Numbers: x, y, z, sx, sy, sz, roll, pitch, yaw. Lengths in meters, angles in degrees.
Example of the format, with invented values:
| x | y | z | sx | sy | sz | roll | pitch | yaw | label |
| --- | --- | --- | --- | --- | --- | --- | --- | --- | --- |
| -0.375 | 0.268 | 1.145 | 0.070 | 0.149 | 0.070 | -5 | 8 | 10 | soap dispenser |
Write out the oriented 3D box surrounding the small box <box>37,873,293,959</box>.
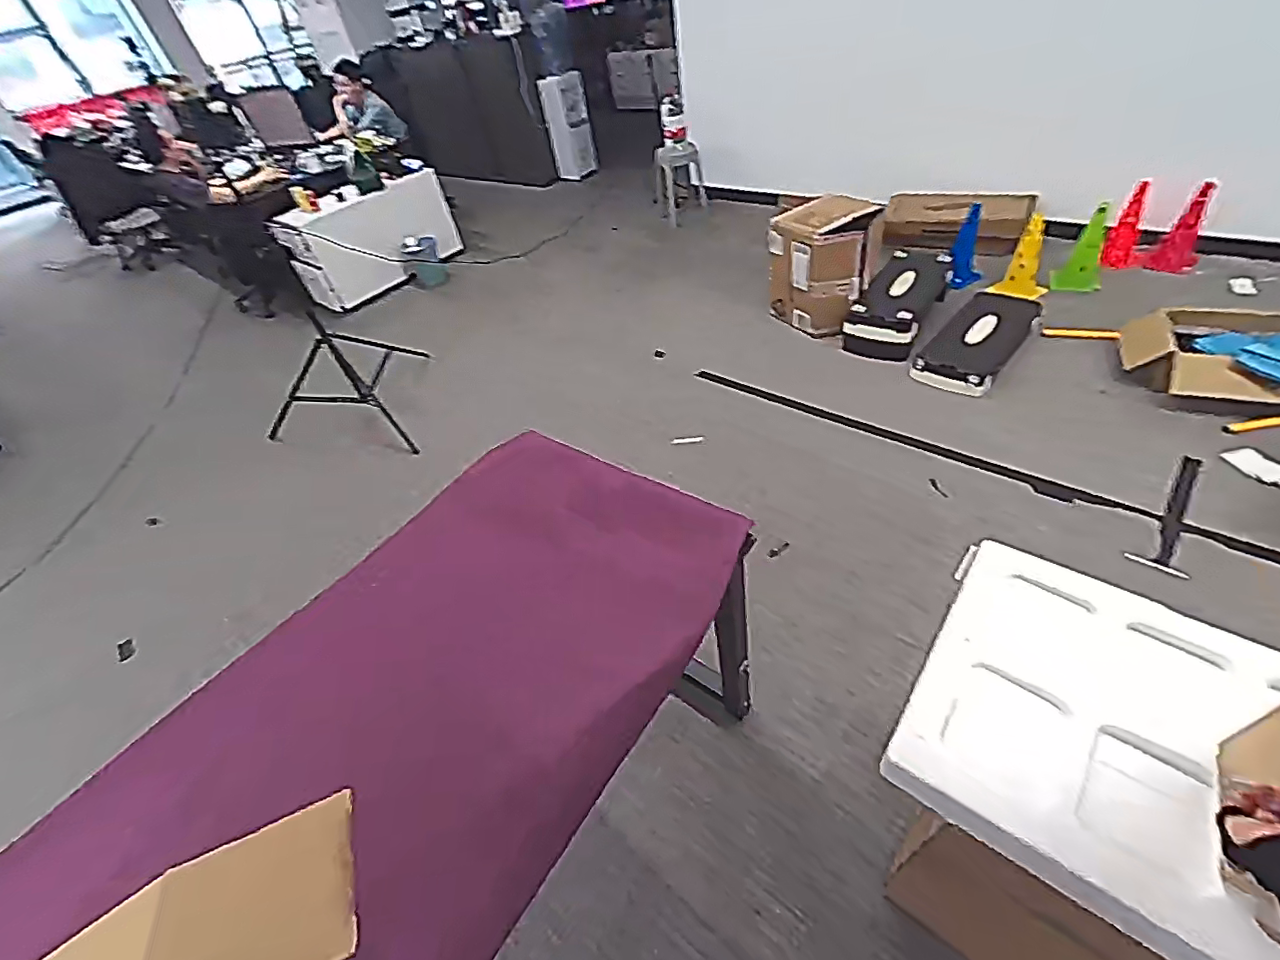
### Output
| x | y | z | sx | sy | sz | roll | pitch | yaw | label |
| --- | --- | --- | --- | --- | --- | --- | --- | --- | --- |
| -0.472 | 0.529 | 0.515 | 0.179 | 0.176 | 0.168 | -34 | 36 | -6 | small box |
